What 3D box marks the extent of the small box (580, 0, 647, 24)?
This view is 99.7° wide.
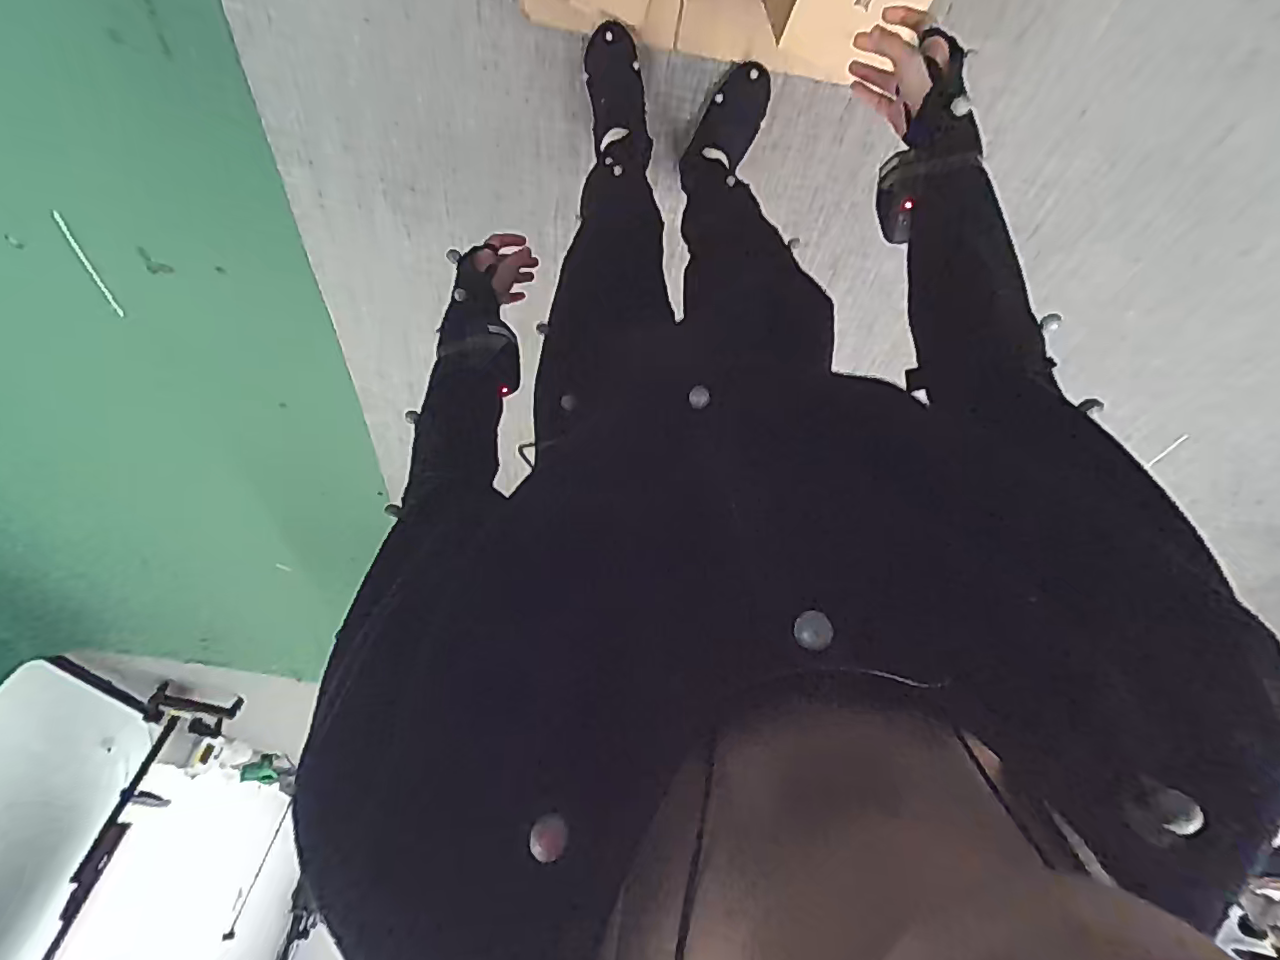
[{"bbox_3d":[-0.046,-0.754,0.711,0.168,0.176,0.179,14,139,-10],"label":"small box"}]

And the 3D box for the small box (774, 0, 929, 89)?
[{"bbox_3d":[0.295,-0.686,0.739,0.168,0.176,0.179,16,139,-10],"label":"small box"}]
